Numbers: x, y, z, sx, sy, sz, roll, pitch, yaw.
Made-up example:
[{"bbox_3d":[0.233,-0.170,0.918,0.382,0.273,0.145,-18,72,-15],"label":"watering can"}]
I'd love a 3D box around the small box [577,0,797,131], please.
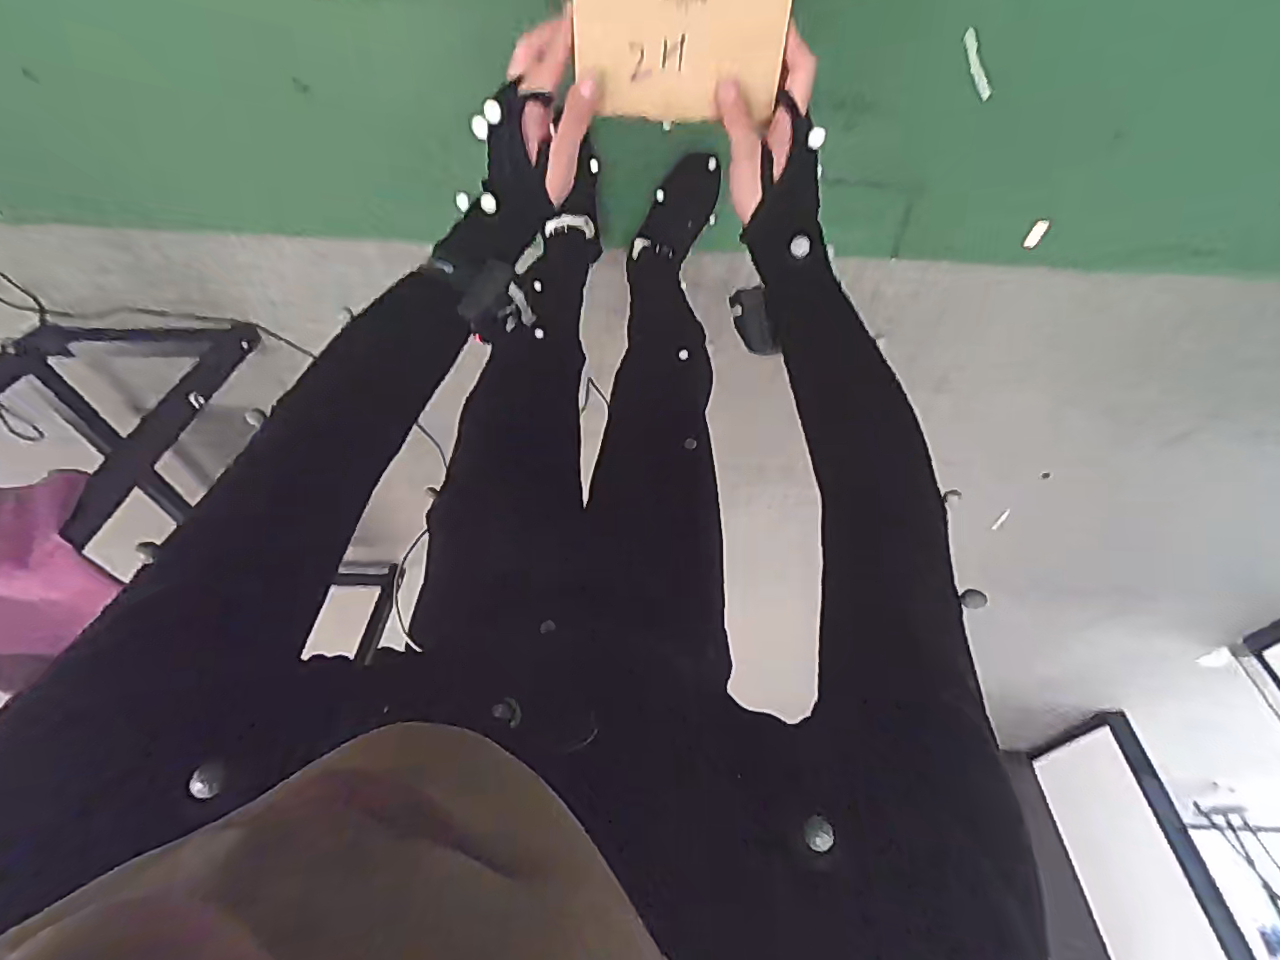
[{"bbox_3d":[0.034,-0.410,0.454,0.168,0.176,0.179,2,129,-1],"label":"small box"}]
